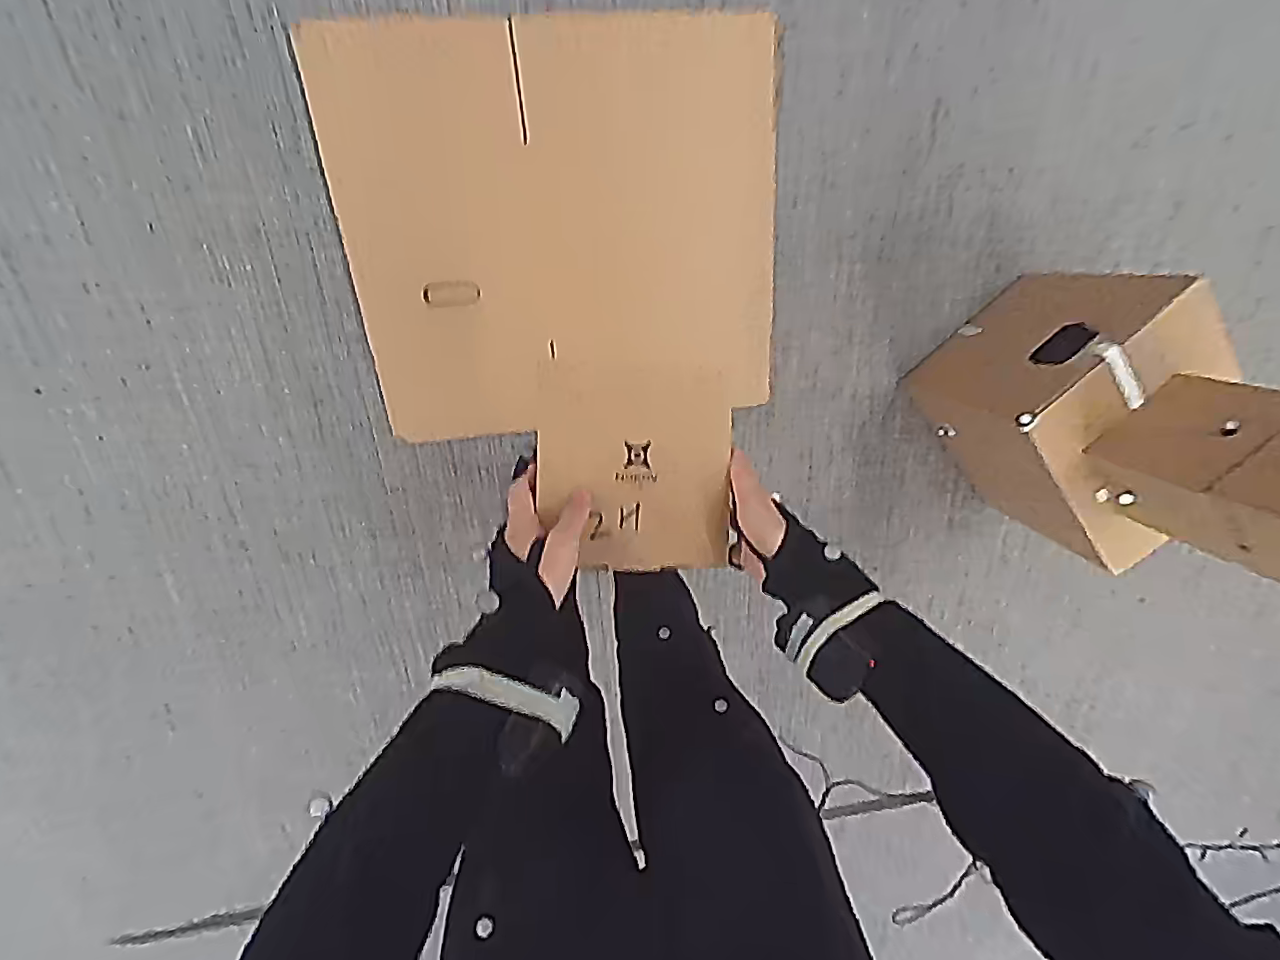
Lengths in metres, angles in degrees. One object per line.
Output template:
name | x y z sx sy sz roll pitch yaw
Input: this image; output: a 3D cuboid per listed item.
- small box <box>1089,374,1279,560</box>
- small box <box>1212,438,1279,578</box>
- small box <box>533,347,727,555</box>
small box | 0.809 -0.027 0.771 0.179 0.176 0.168 -43 112 9
small box | 0.838 0.031 0.620 0.179 0.176 0.168 -44 112 8
small box | -0.018 -0.025 0.539 0.168 0.176 0.179 1 93 -7
